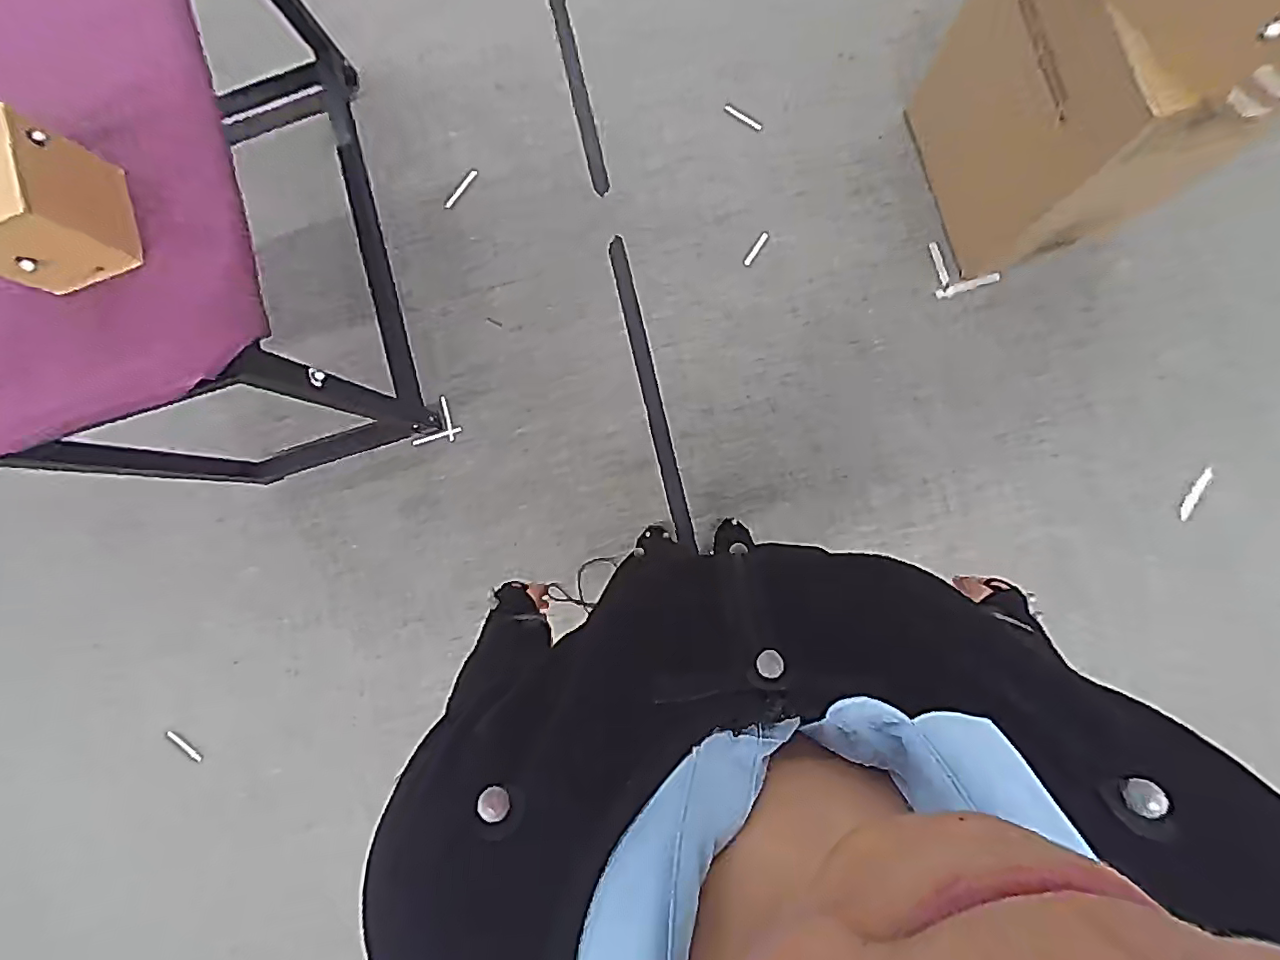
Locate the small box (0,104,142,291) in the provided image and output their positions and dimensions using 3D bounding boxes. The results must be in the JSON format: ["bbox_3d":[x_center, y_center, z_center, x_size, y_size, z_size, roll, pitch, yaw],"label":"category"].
[{"bbox_3d":[-0.927,-0.414,0.832,0.168,0.176,0.179,-18,85,4],"label":"small box"}]
